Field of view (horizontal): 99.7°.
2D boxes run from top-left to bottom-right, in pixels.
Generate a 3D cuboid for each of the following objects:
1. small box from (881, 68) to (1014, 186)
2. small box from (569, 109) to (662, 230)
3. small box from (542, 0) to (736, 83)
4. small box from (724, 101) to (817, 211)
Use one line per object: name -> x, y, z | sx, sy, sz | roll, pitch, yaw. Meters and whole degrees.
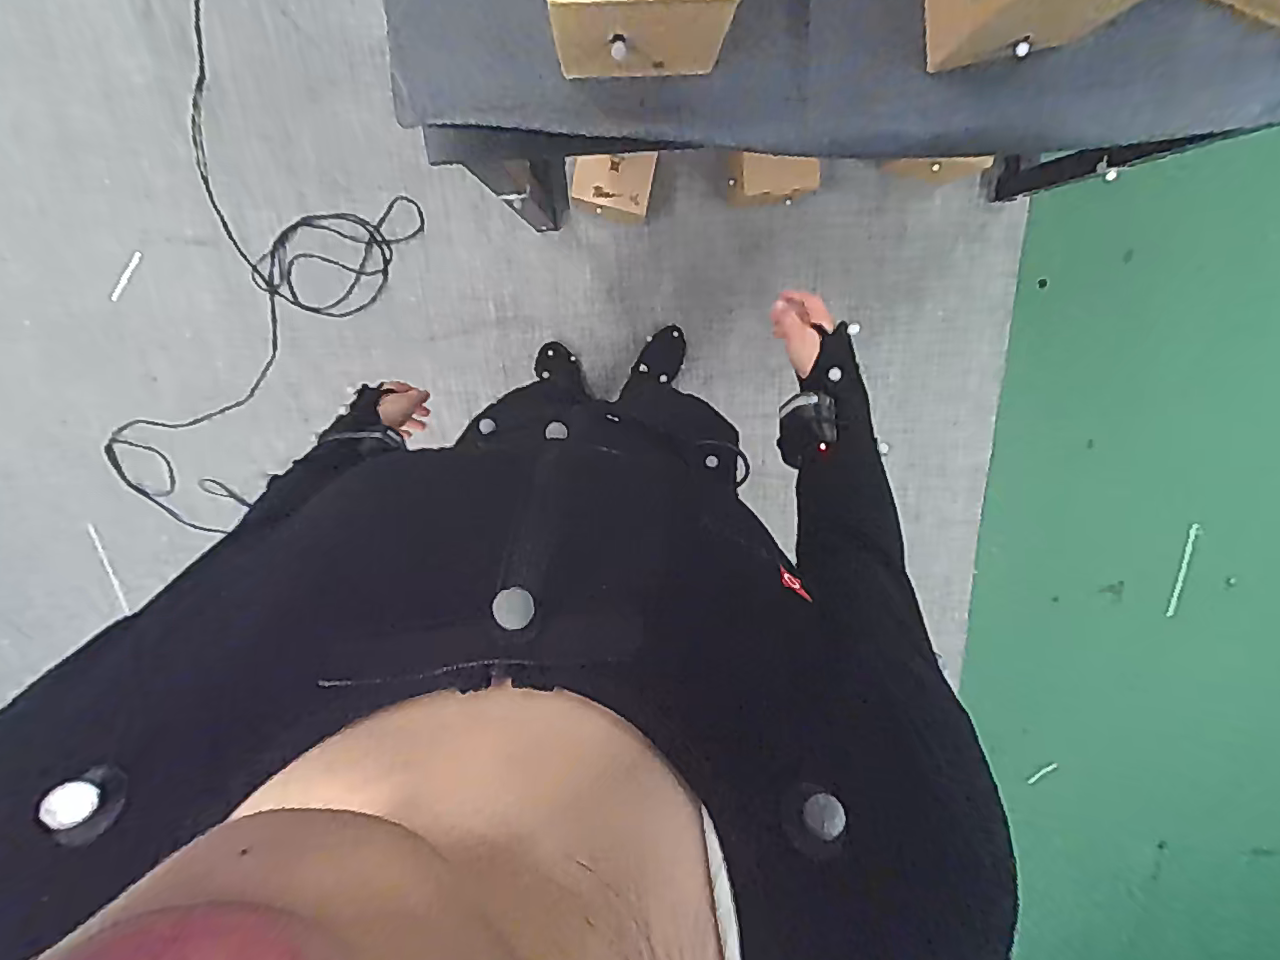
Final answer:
small box -> 0.670, -0.773, 1.204 | 0.179, 0.176, 0.168 | 8, 107, -6
small box -> -0.056, -0.680, 1.206 | 0.168, 0.176, 0.179 | 12, 106, -6
small box -> -0.004, -0.496, 0.502 | 0.168, 0.176, 0.179 | -3, 108, -1
small box -> 0.286, -0.712, 1.209 | 0.168, 0.176, 0.179 | -7, 107, -1
